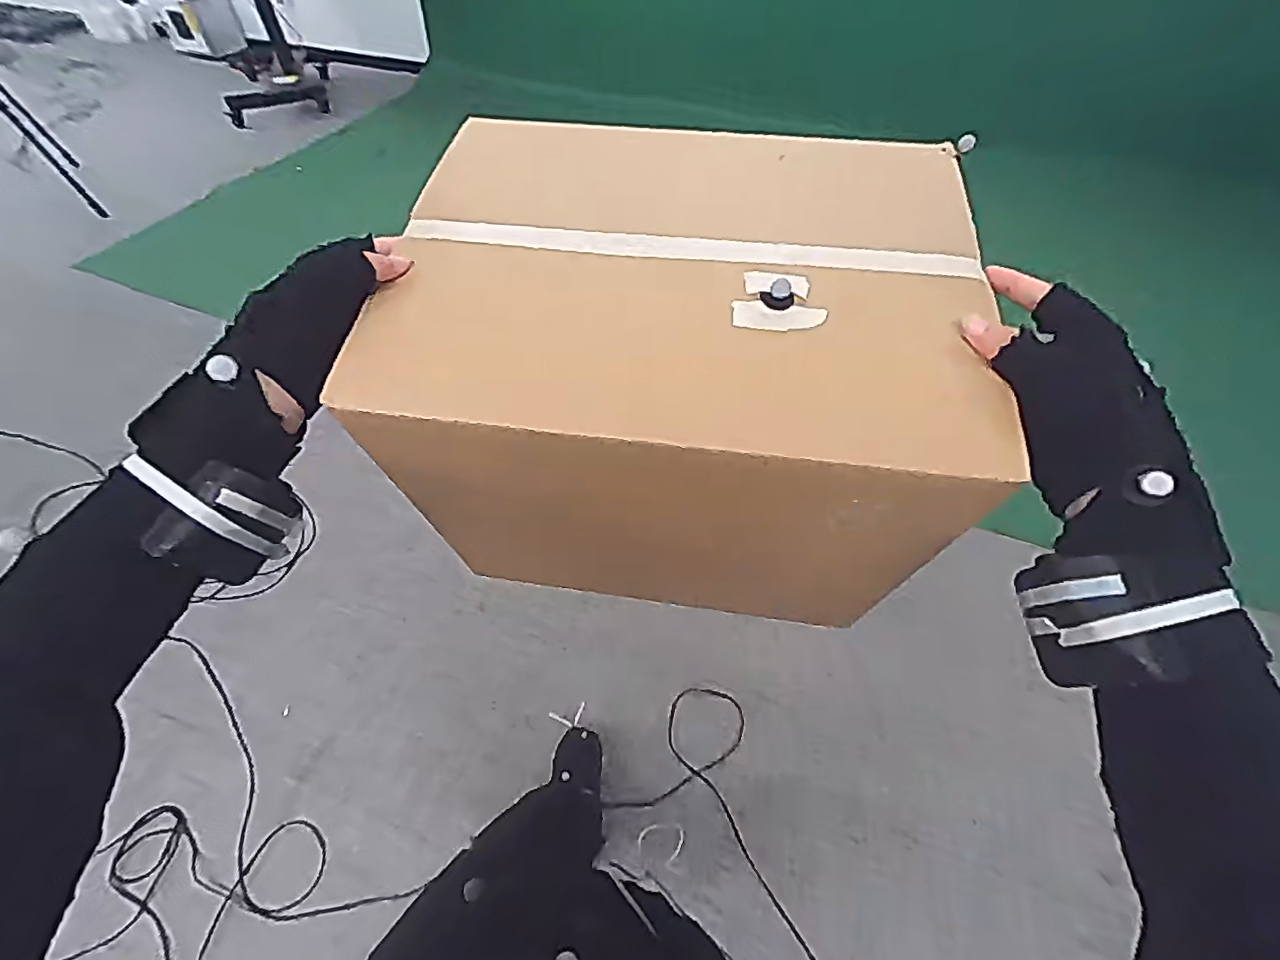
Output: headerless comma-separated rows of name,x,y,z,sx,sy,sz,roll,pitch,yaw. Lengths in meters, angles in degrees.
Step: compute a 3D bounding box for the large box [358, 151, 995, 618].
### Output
large box,0.033,-0.077,0.532,0.408,0.320,0.320,7,61,5
